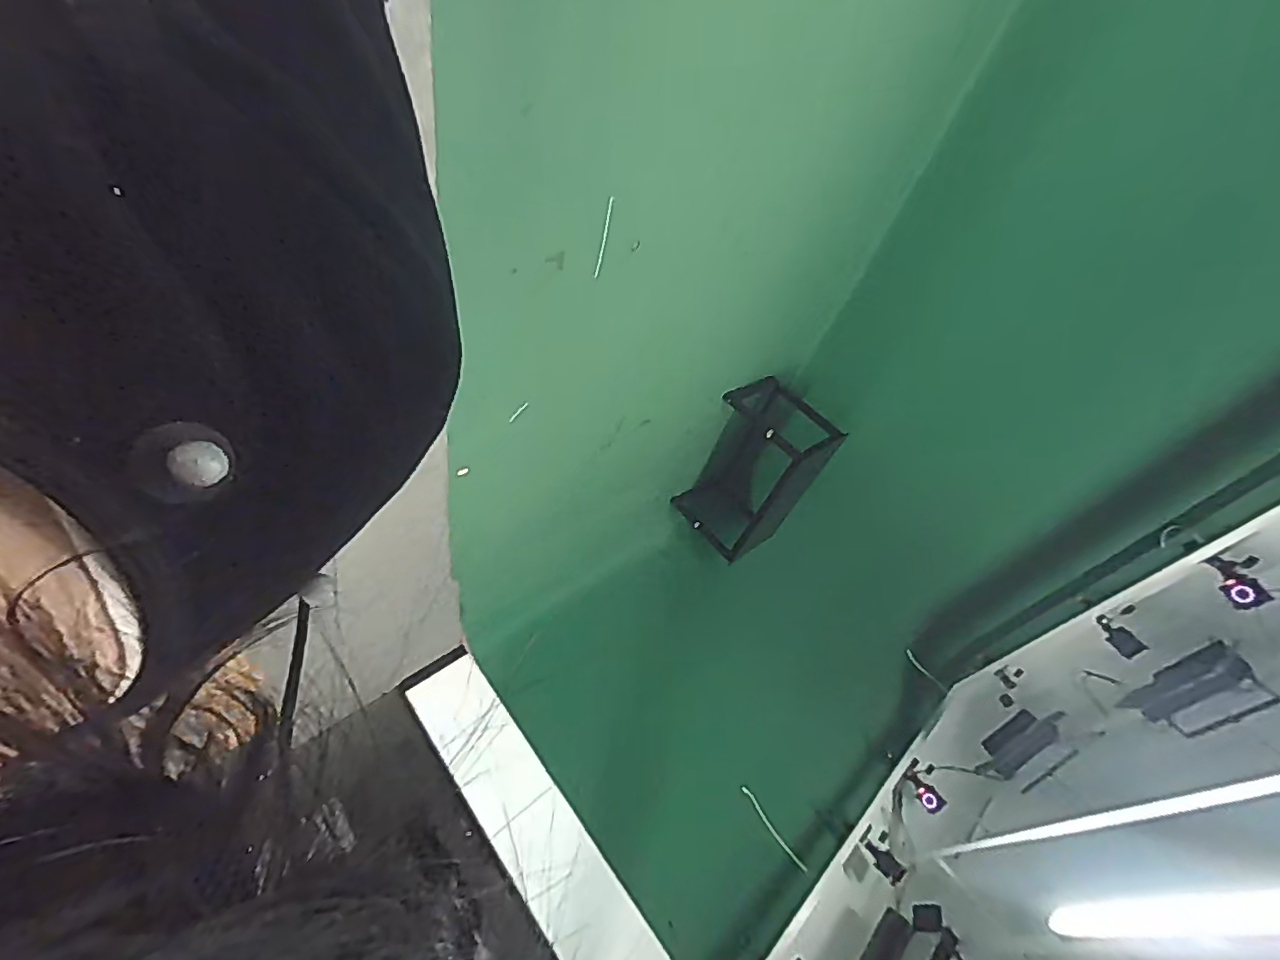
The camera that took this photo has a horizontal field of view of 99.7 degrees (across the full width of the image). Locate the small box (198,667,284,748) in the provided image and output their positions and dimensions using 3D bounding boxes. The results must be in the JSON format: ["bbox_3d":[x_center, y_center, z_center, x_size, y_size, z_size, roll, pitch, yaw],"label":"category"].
[{"bbox_3d":[-1.378,0.781,1.868,0.179,0.176,0.168,-27,153,-33],"label":"small box"}]

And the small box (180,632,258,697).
[{"bbox_3d":[-1.488,0.669,1.920,0.168,0.176,0.179,-28,153,-32],"label":"small box"}]
